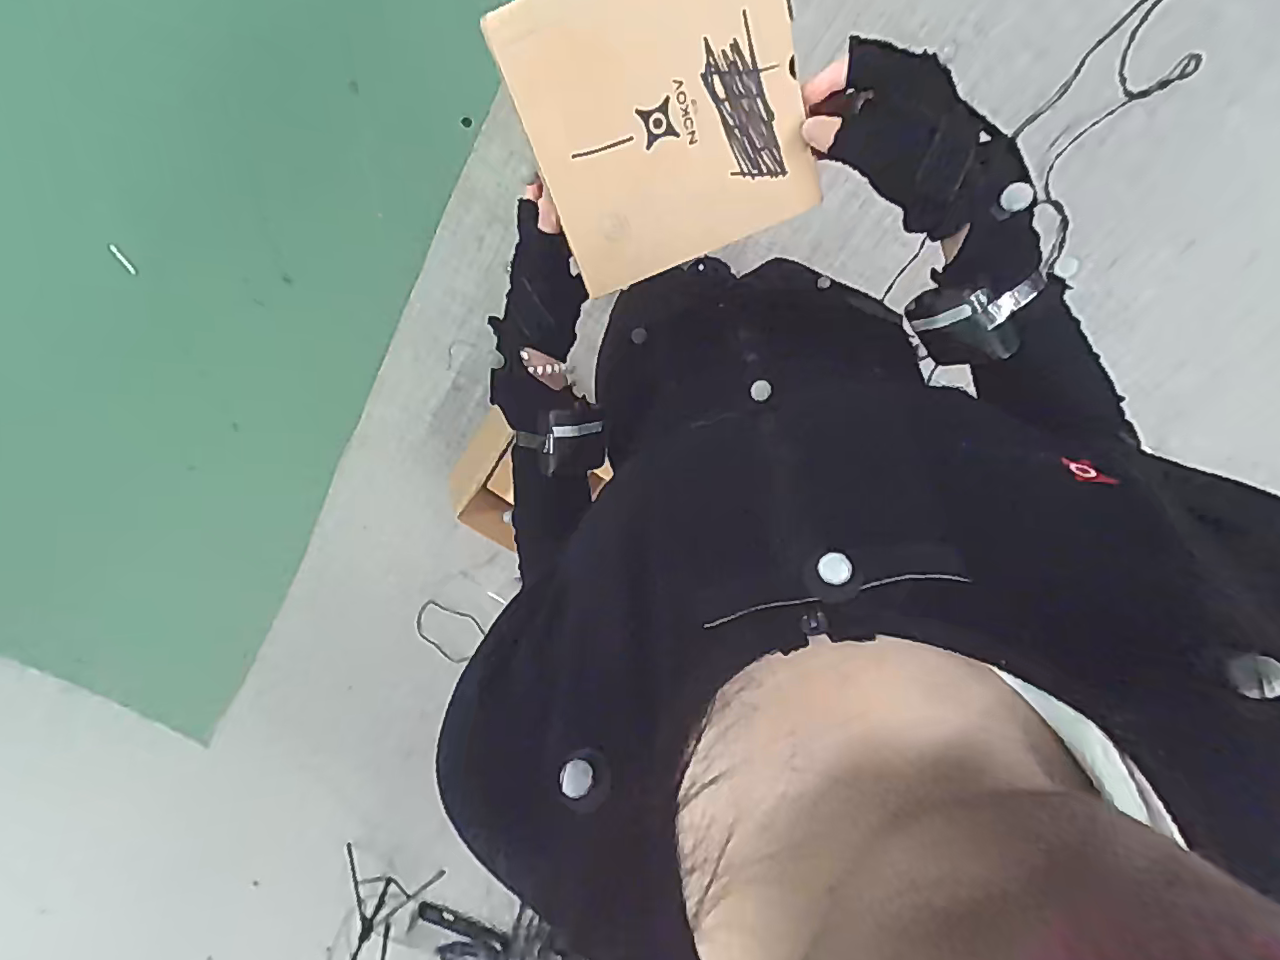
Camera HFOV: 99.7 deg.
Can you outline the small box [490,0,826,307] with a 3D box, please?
[{"bbox_3d":[0.009,-0.252,0.400,0.179,0.176,0.168,-21,120,3],"label":"small box"}]
